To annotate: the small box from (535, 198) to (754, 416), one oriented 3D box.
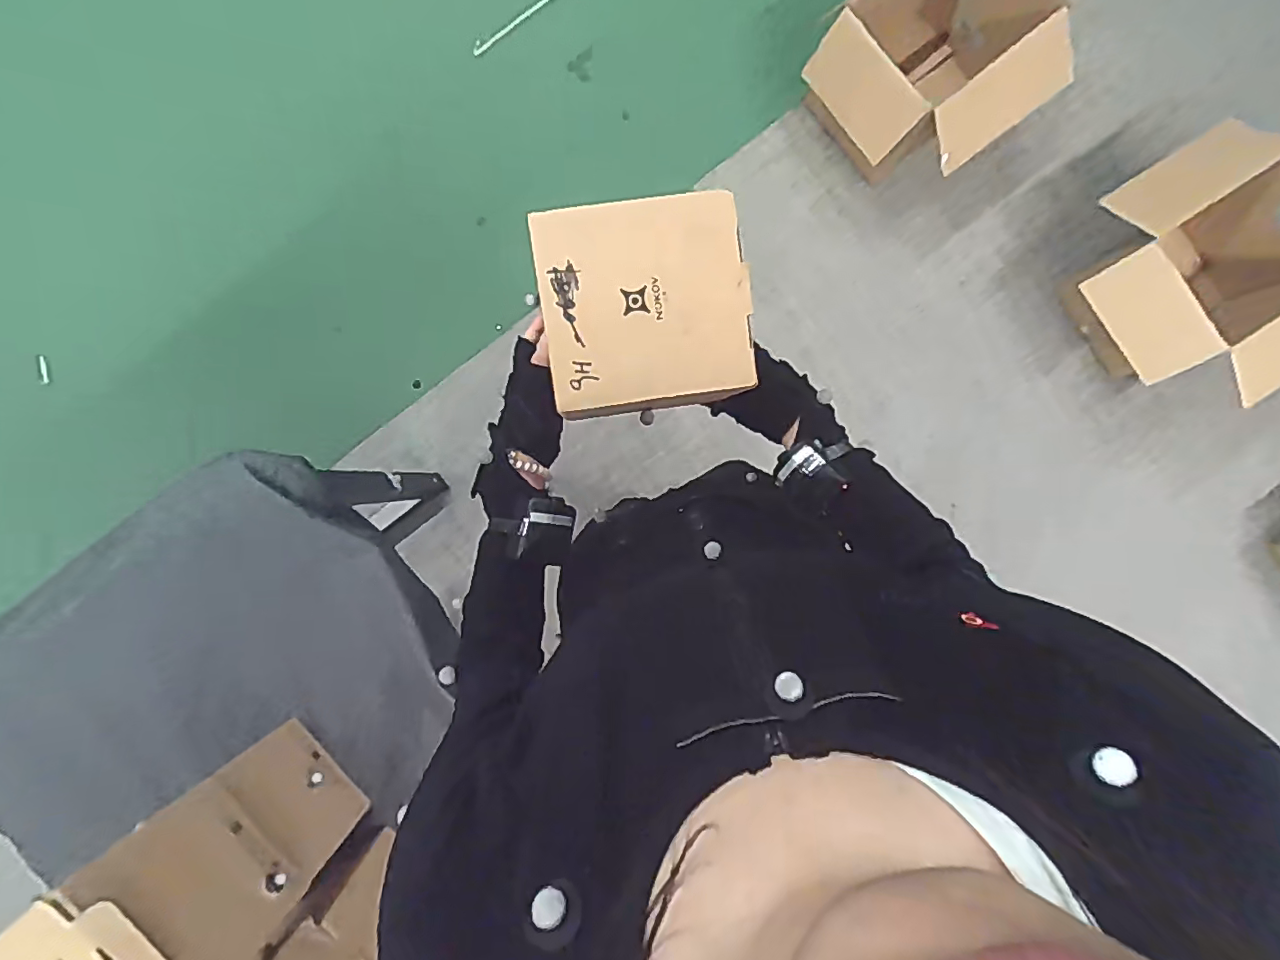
[{"bbox_3d":[-0.002,-0.156,0.538,0.179,0.176,0.168,-7,94,-4],"label":"small box"}]
